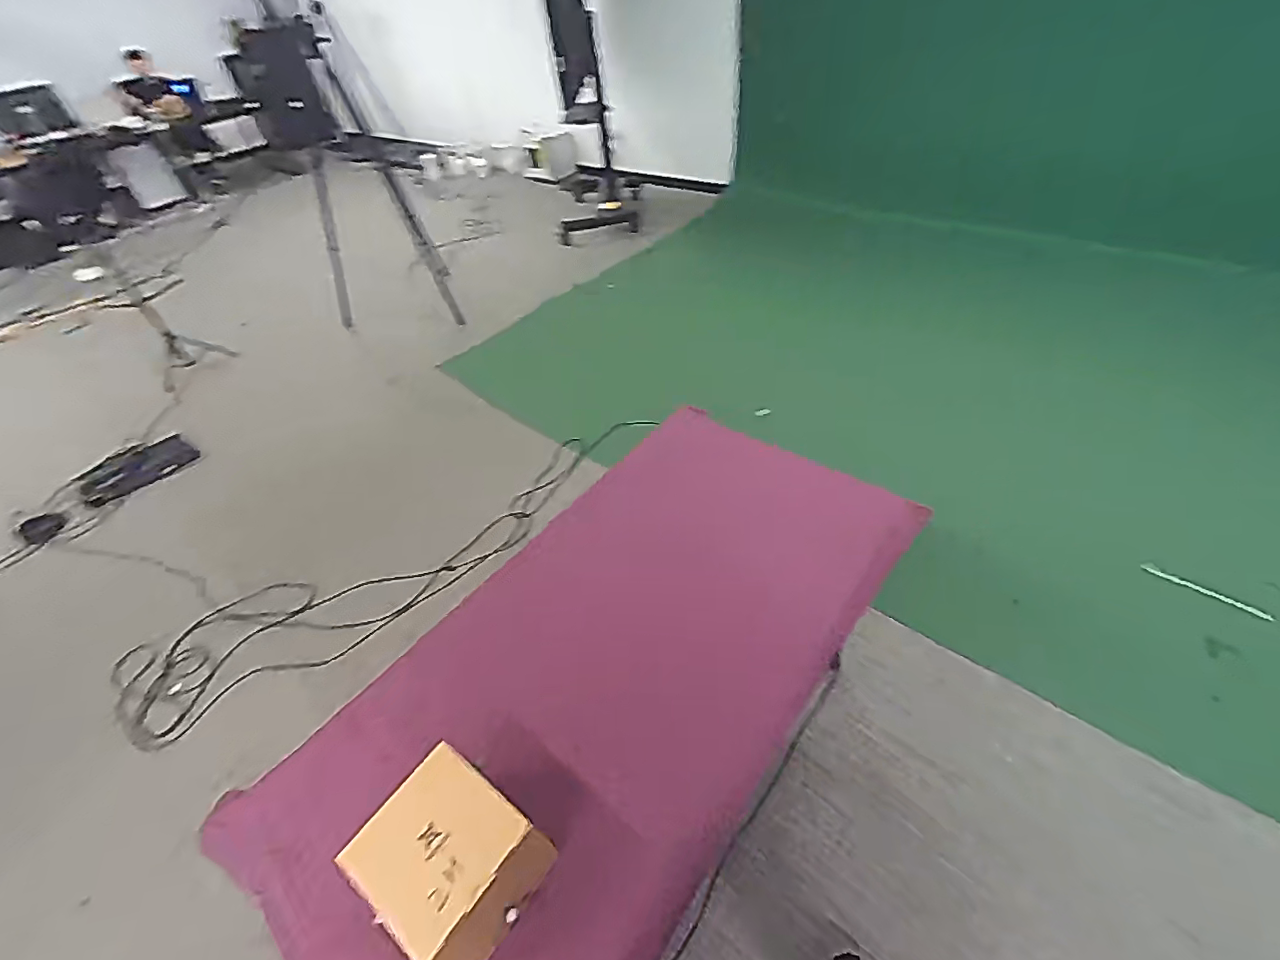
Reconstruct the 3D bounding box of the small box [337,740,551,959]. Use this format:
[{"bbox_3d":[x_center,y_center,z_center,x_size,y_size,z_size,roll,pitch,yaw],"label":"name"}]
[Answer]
[{"bbox_3d":[-0.244,0.488,0.707,0.179,0.176,0.168,25,54,29],"label":"small box"}]
